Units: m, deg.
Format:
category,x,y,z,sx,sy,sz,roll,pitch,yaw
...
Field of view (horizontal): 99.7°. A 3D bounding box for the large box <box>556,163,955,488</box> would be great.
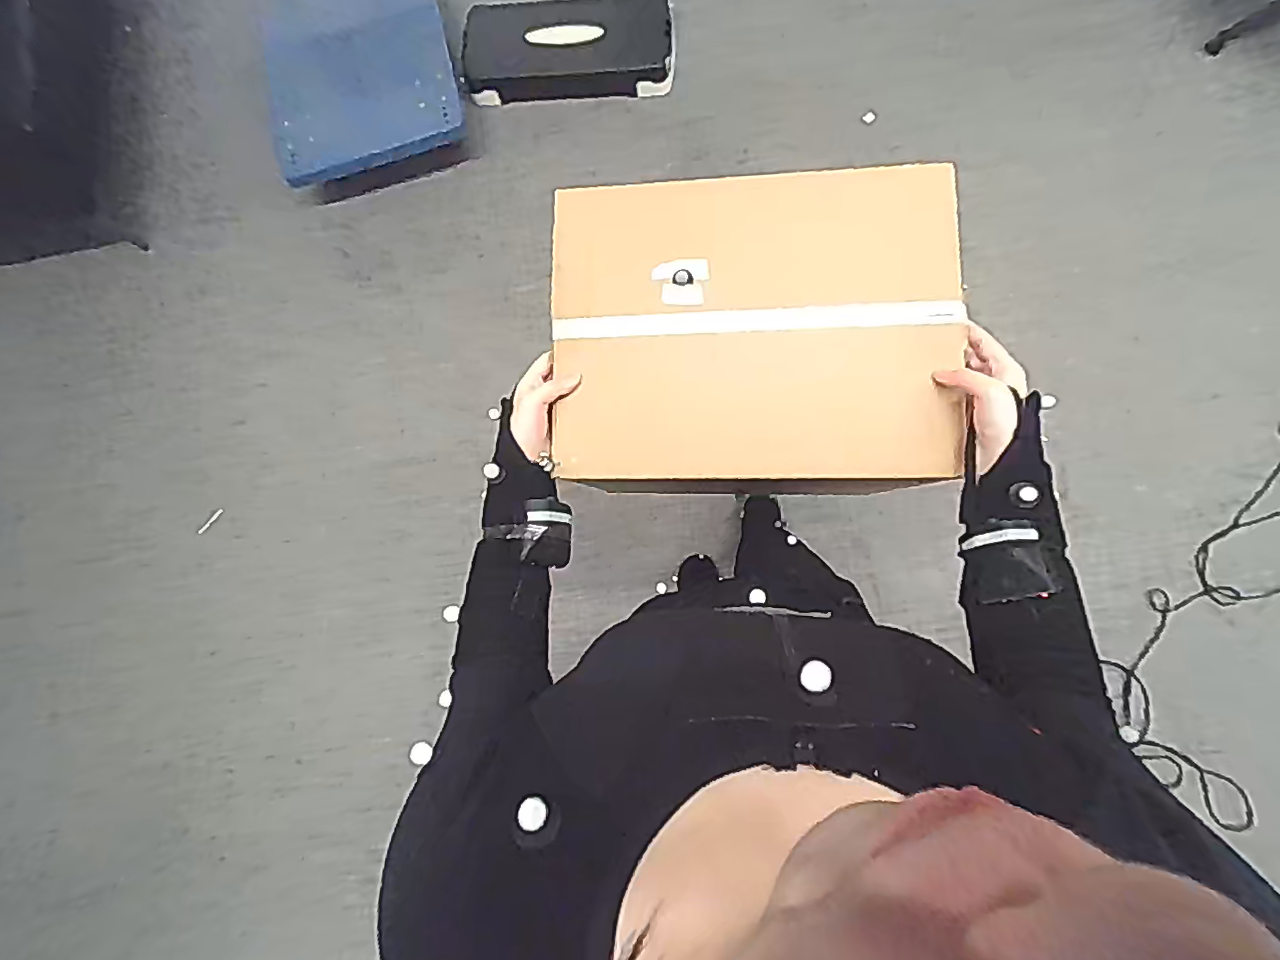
category,x,y,z,sx,sy,sz,roll,pitch,yaw
large box,0.129,-0.152,0.706,0.408,0.320,0.320,-1,85,9
